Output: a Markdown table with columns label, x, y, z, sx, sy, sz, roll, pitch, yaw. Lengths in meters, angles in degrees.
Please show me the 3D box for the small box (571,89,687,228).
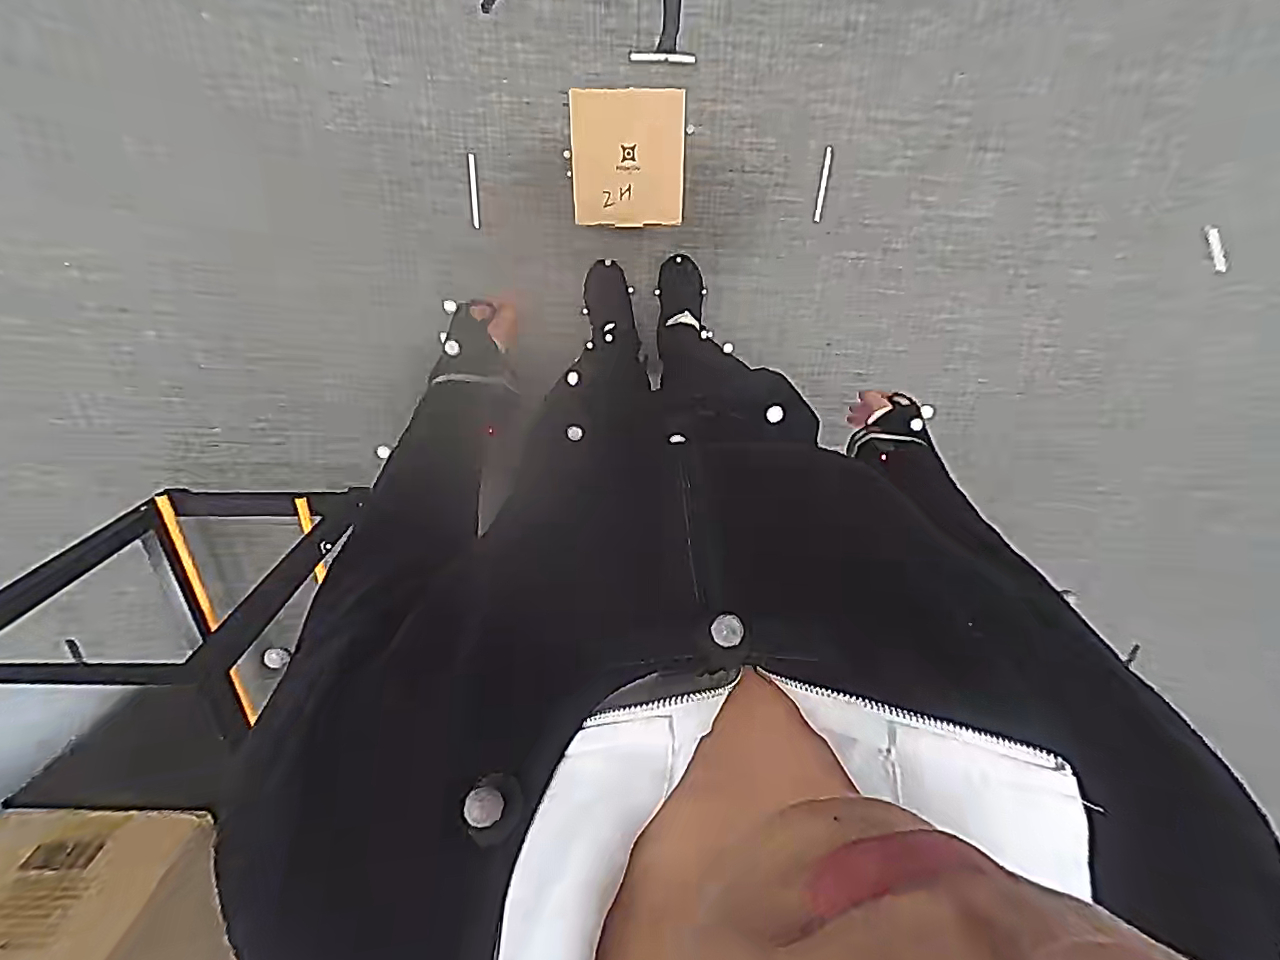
| label | x | y | z | sx | sy | sz | roll | pitch | yaw |
| --- | --- | --- | --- | --- | --- | --- | --- | --- | --- |
| small box | -0.019 | -0.500 | 0.861 | 0.168 | 0.176 | 0.179 | 0 | 117 | 0 |
